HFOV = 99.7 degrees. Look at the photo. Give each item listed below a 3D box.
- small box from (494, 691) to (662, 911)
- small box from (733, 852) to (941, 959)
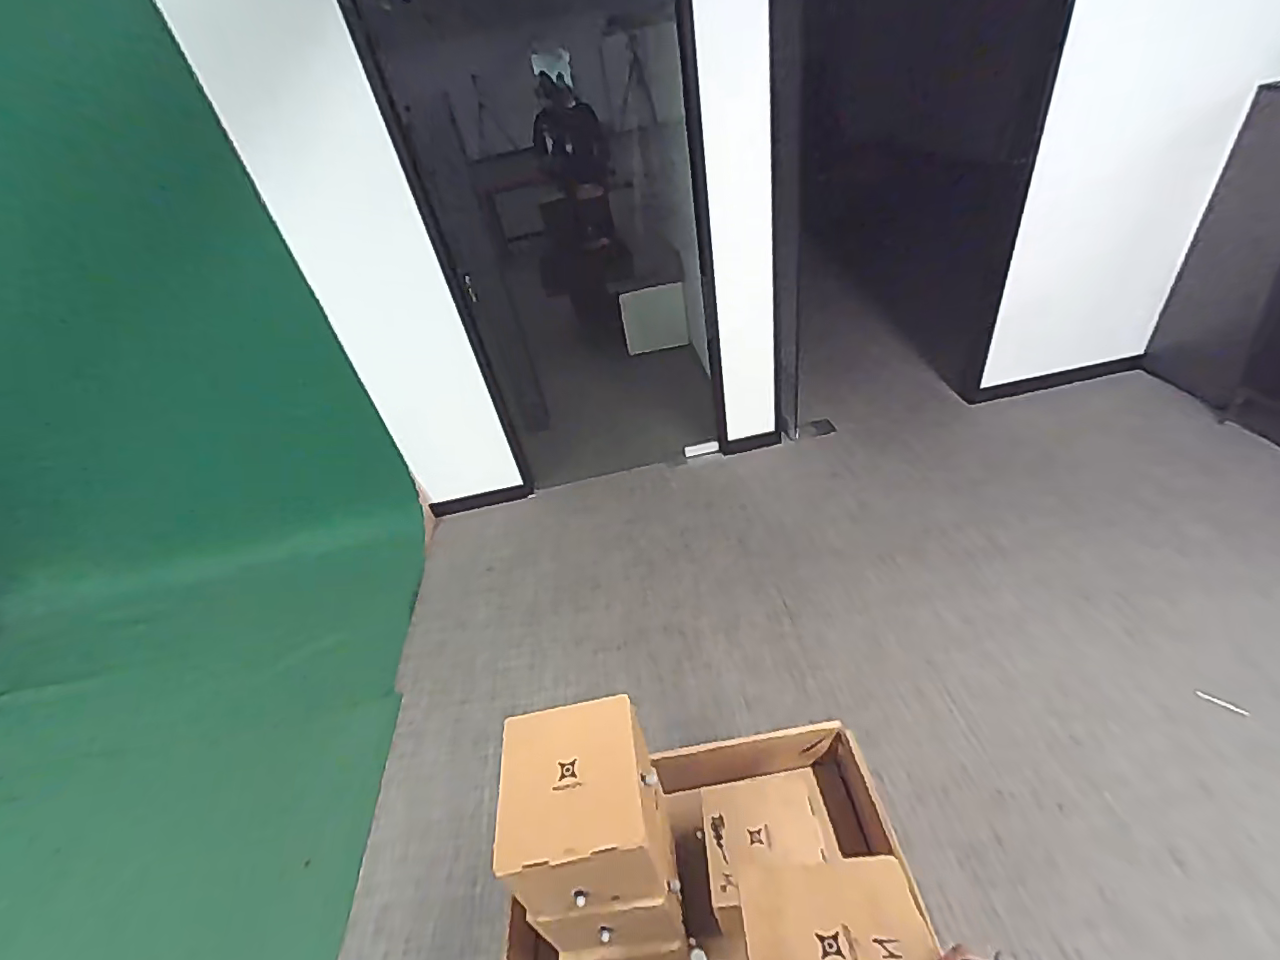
[{"bbox_3d":[-0.071,0.402,0.682,0.168,0.176,0.179,-12,38,0],"label":"small box"},{"bbox_3d":[0.196,0.509,0.530,0.179,0.176,0.168,-7,19,4],"label":"small box"}]
